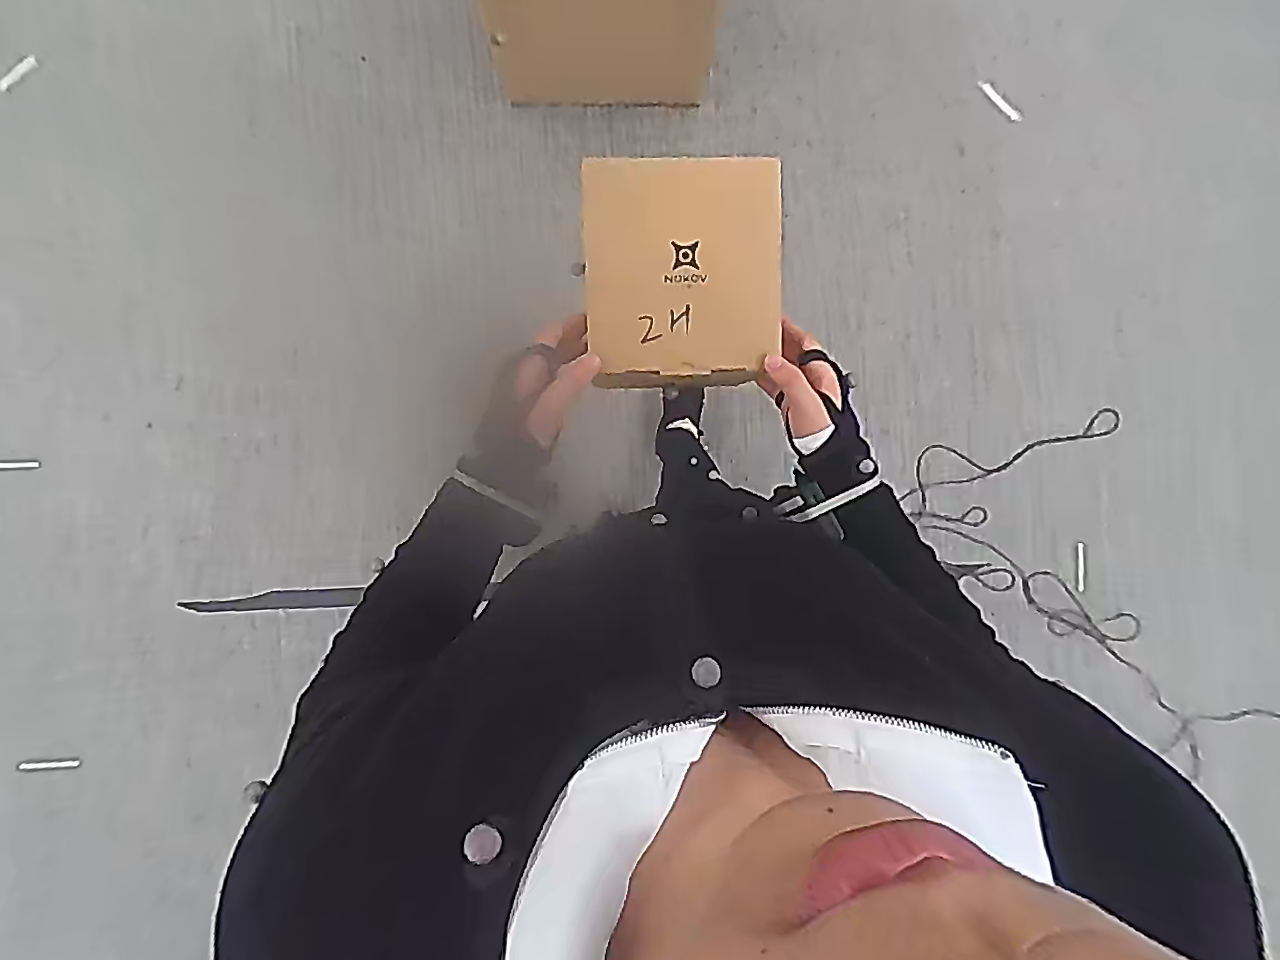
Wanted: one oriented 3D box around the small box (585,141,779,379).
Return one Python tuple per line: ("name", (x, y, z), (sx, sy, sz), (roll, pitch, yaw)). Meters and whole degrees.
("small box", (0.032, -0.198, 0.532), (0.168, 0.176, 0.179), (-2, 94, -2))
